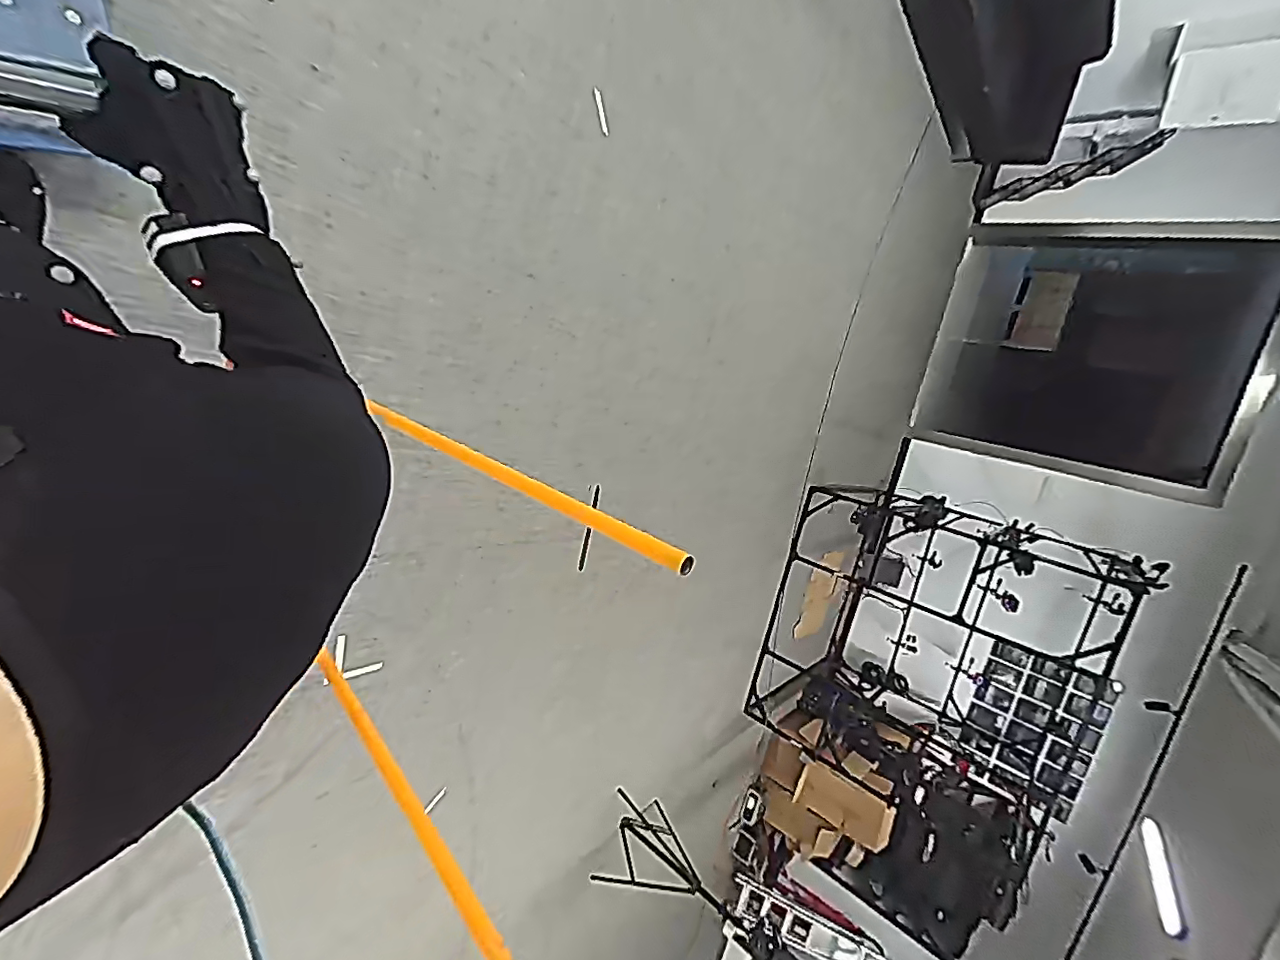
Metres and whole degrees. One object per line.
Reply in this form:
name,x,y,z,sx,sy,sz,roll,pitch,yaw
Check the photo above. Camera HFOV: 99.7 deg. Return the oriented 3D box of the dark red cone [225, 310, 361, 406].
dark red cone,-0.720,-0.235,1.173,0.201,0.394,0.202,1,106,-54
